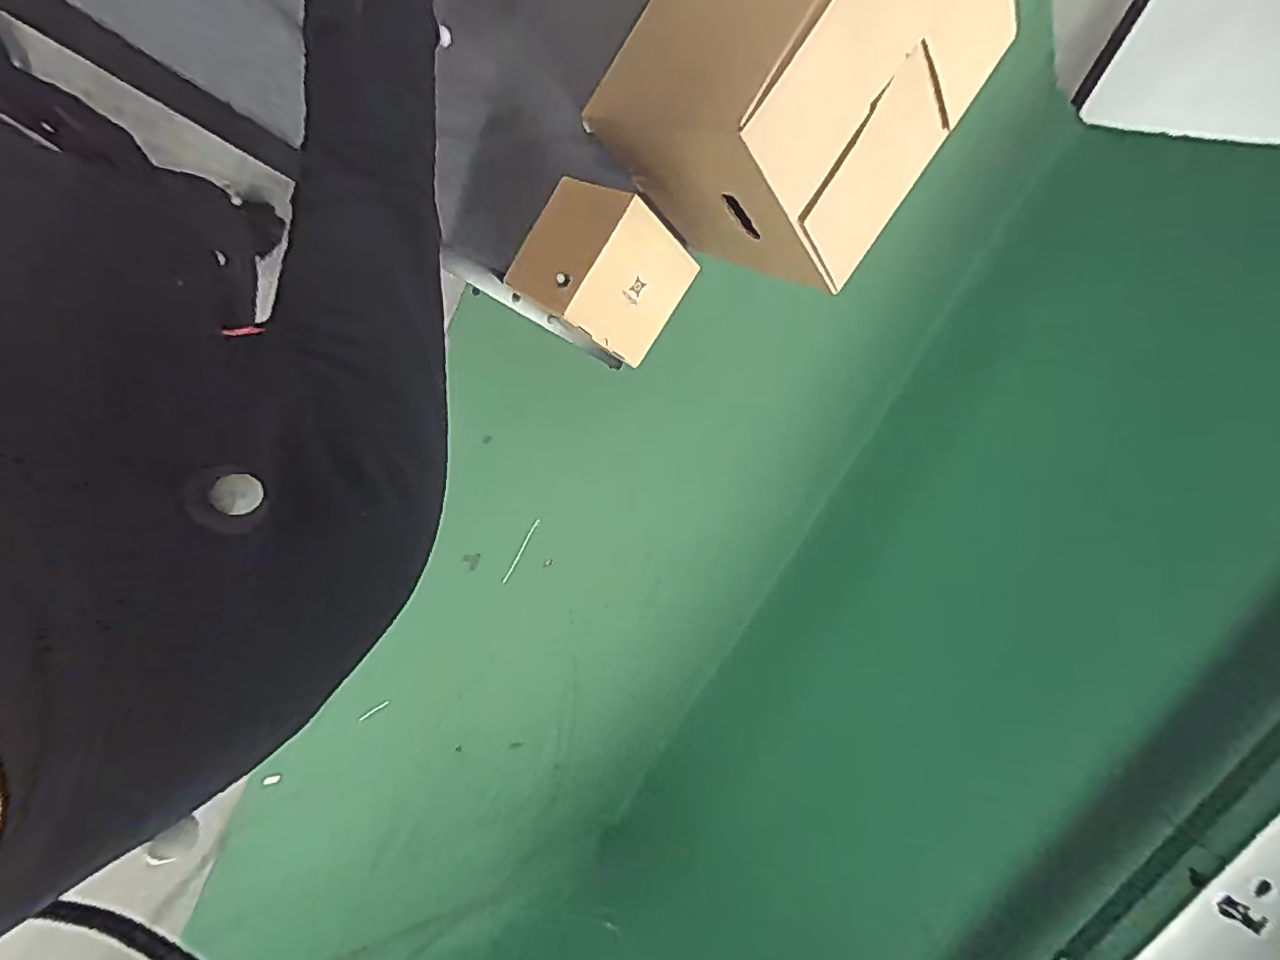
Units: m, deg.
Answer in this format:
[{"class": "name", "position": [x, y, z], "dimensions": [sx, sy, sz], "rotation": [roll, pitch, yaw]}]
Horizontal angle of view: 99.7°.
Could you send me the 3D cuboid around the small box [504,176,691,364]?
[{"class": "small box", "position": [-0.066, -0.305, 0.785], "dimensions": [0.179, 0.176, 0.168], "rotation": [-56, 143, 8]}]
